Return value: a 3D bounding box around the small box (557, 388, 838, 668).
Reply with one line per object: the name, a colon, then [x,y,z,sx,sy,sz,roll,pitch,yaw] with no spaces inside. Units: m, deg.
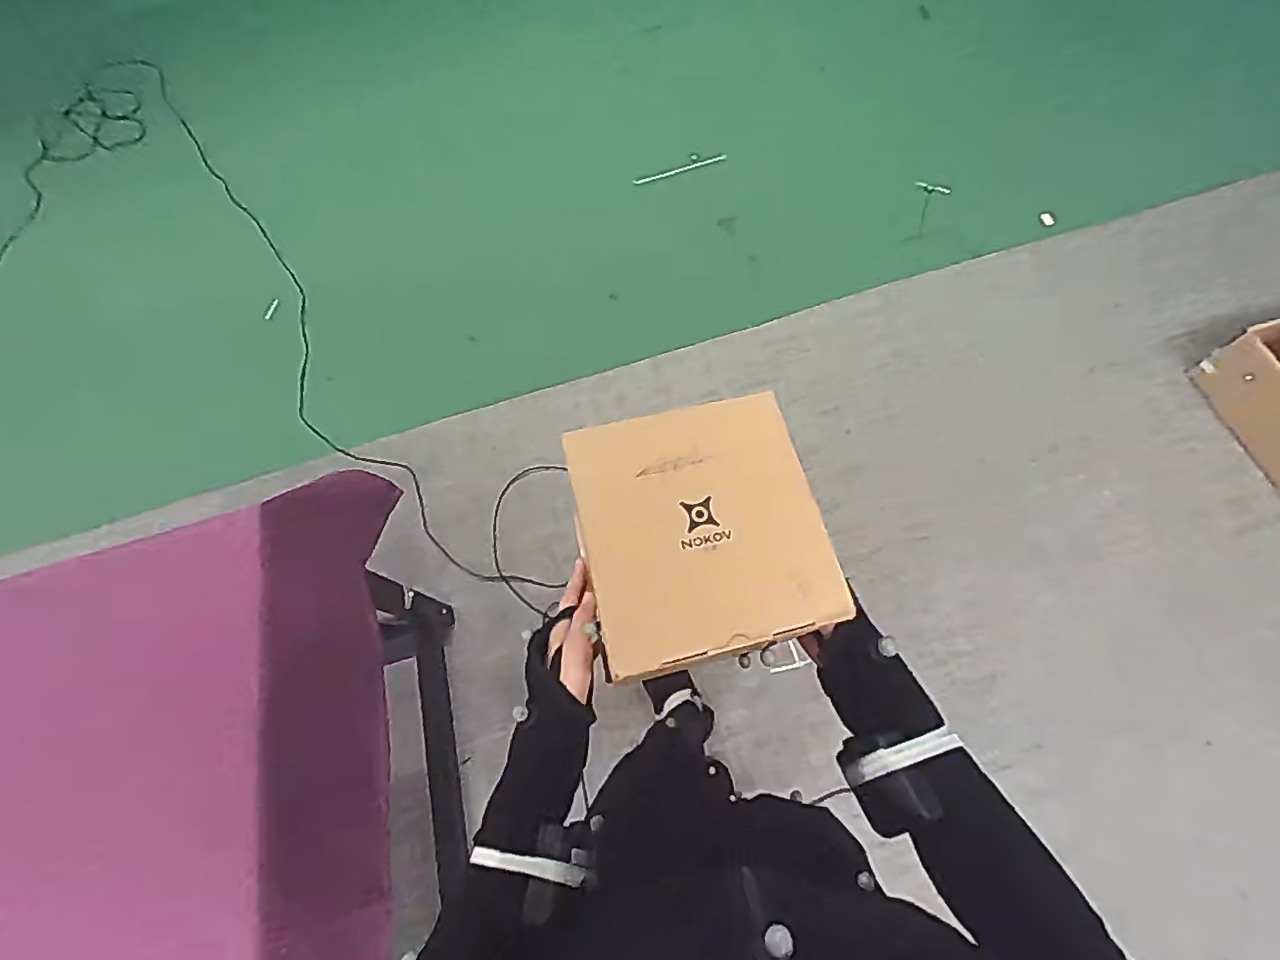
small box: [0.034,0.052,0.453,0.168,0.176,0.179,-12,68,-7]
